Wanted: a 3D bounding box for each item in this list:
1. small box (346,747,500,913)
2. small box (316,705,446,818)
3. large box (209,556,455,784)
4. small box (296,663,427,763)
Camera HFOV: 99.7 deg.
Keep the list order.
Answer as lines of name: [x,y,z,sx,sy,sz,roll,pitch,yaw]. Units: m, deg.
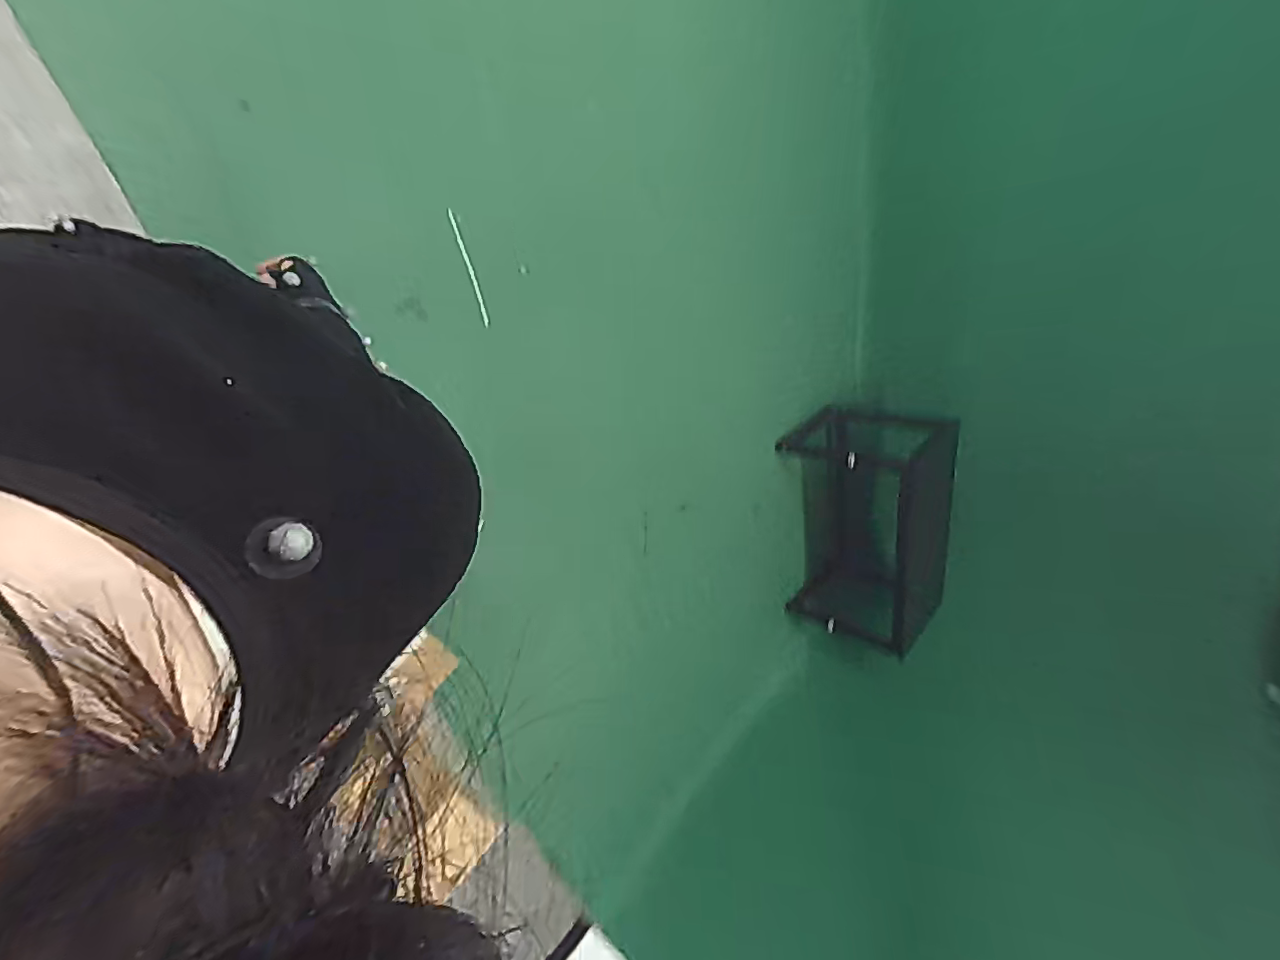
small box: [-0.398,0.625,0.988,0.168,0.176,0.179,-44,128,-27]
small box: [-0.516,0.591,1.098,0.168,0.176,0.179,-43,129,-28]
large box: [-0.779,0.474,1.389,0.408,0.320,0.320,-49,133,-25]
small box: [-0.625,0.546,1.212,0.179,0.176,0.168,-45,129,-26]
